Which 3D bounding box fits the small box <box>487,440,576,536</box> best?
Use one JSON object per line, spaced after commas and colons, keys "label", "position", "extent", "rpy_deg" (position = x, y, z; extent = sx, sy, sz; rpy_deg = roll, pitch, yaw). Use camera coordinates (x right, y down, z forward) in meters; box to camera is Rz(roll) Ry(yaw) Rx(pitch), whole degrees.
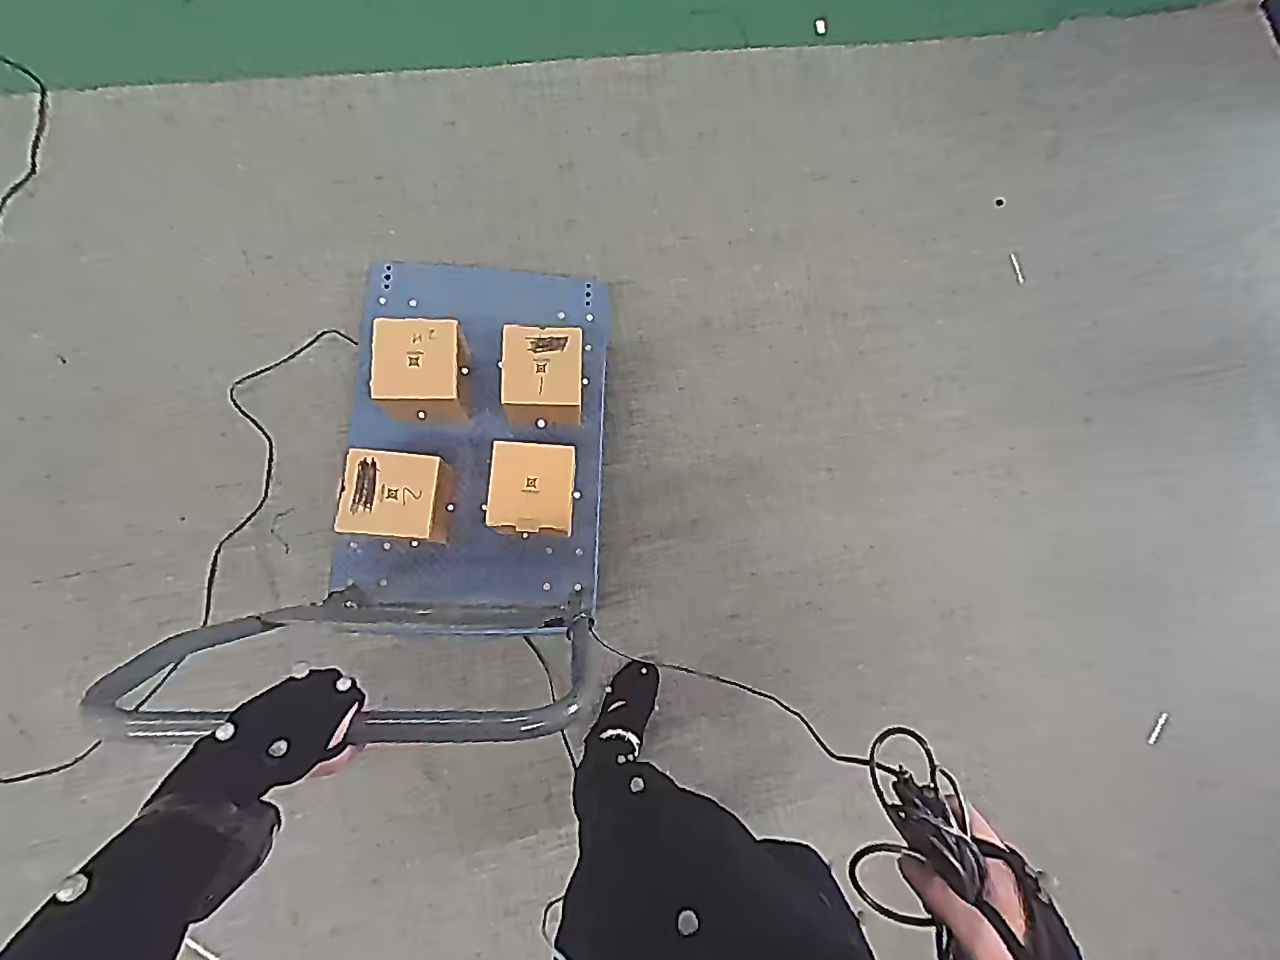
{"label": "small box", "position": [-0.227, 0.023, 1.161], "extent": [0.168, 0.176, 0.179], "rpy_deg": [4, 81, -7]}

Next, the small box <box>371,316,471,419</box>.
{"label": "small box", "position": [-0.466, -0.236, 1.173], "extent": [0.168, 0.176, 0.179], "rpy_deg": [0, 80, -8]}

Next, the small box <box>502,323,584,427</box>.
{"label": "small box", "position": [-0.211, -0.228, 1.204], "extent": [0.168, 0.176, 0.179], "rpy_deg": [1, 81, -6]}
